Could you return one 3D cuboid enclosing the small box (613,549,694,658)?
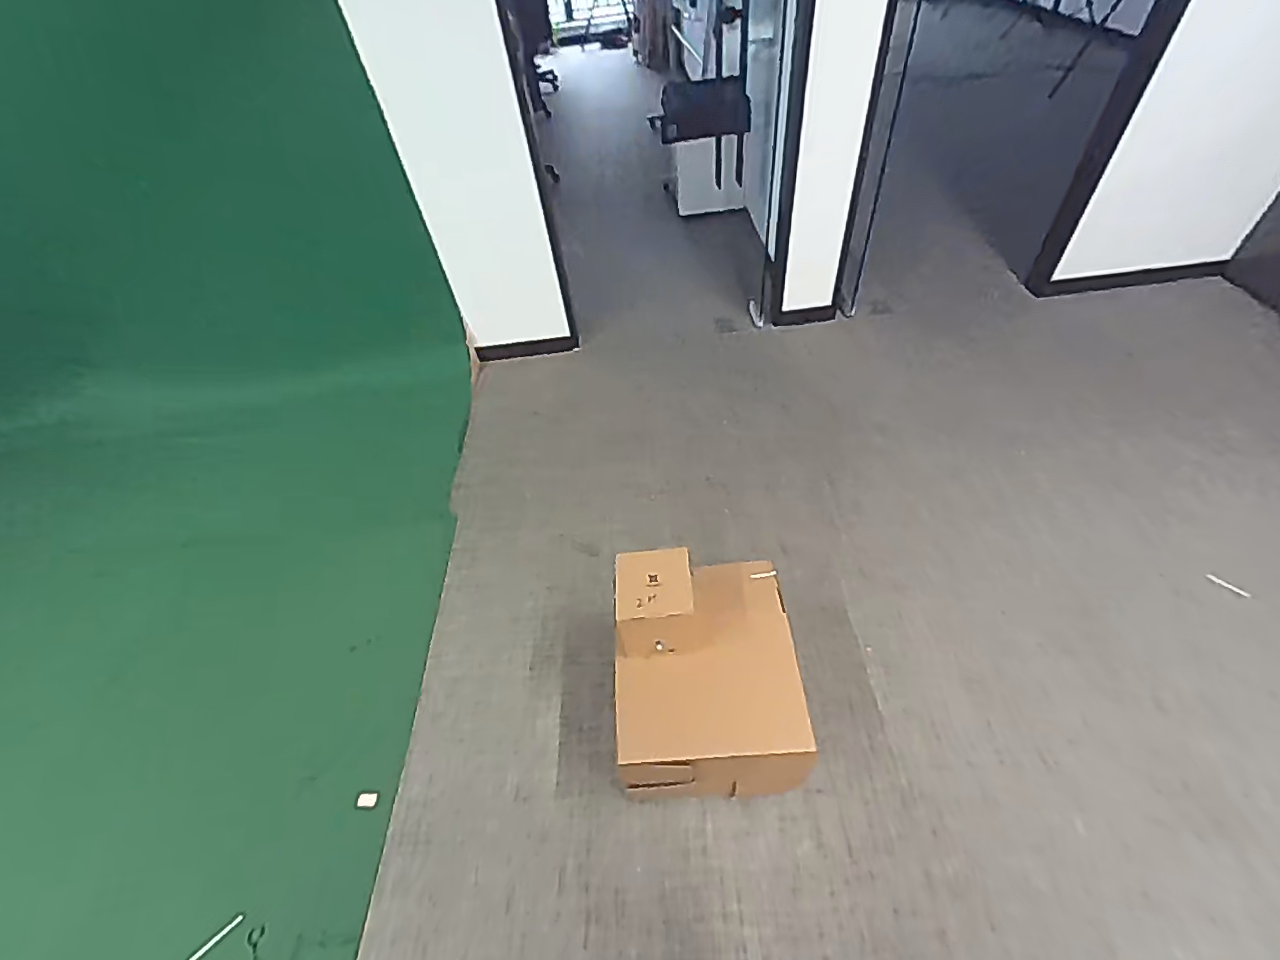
[{"bbox_3d":[0.032,0.282,1.231,0.168,0.176,0.179,-6,45,3],"label":"small box"}]
